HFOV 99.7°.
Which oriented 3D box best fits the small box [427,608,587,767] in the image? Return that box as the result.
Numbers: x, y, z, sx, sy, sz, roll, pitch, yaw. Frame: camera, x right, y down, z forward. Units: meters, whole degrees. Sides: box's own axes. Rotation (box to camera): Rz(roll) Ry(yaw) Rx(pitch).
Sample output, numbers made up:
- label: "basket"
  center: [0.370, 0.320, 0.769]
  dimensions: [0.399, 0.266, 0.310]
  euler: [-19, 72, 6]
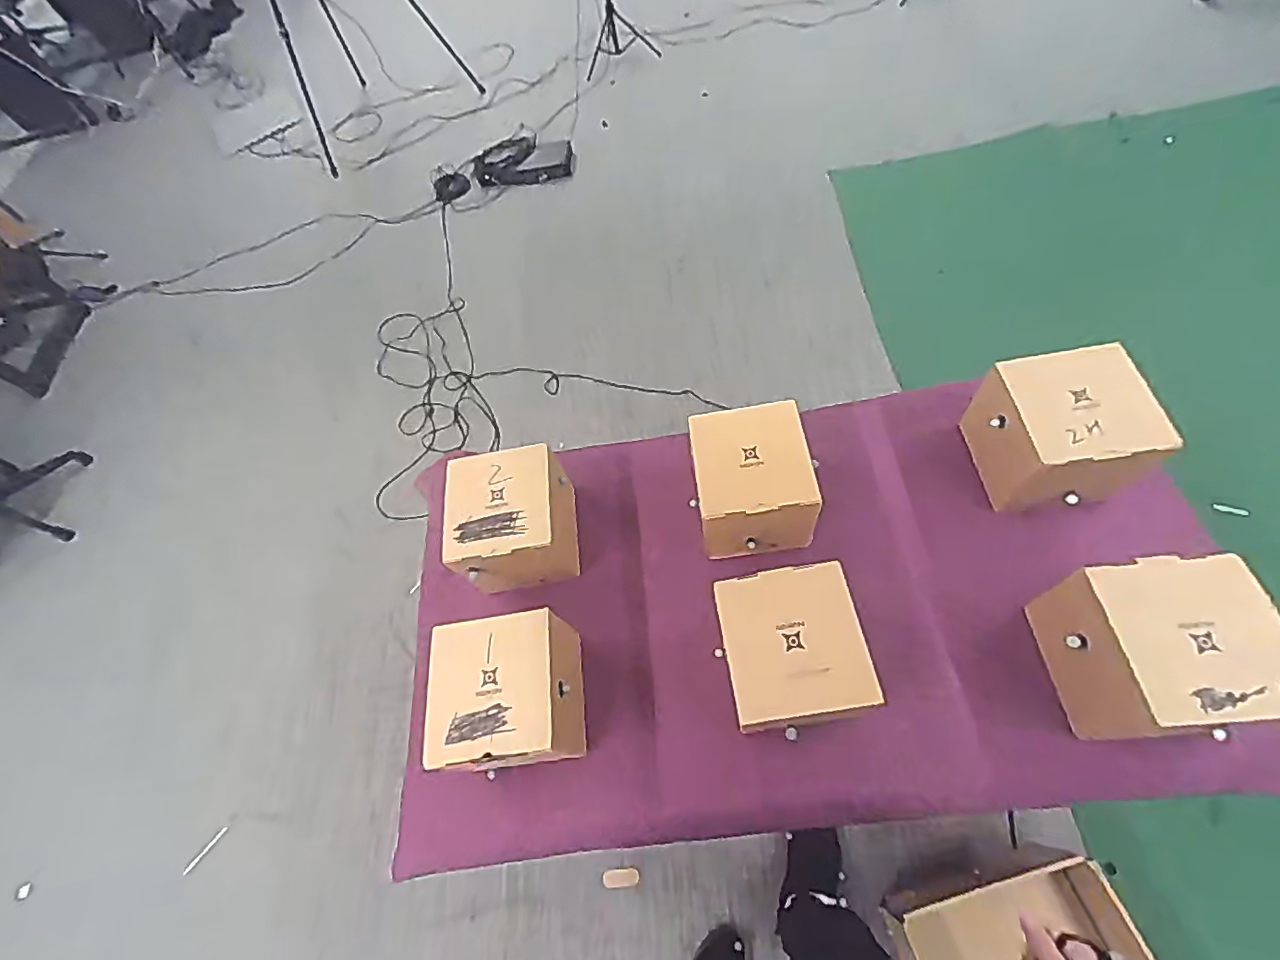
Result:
- label: "small box"
  center: [-0.175, 0.297, 0.759]
  dimensions: [0.168, 0.176, 0.179]
  euler: [-10, 59, 5]

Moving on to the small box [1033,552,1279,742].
- label: "small box"
  center: [0.621, 0.207, 0.651]
  dimensions: [0.168, 0.176, 0.179]
  euler: [-8, 58, 9]

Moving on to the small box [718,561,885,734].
- label: "small box"
  center: [0.201, 0.229, 0.725]
  dimensions: [0.168, 0.176, 0.179]
  euler: [-11, 60, 6]

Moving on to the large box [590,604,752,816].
- label: "large box"
  center: [0.078, 0.568, 1.328]
  dimensions: [0.320, 0.320, 0.408]
  euler: [-11, 59, 4]

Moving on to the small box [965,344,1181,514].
- label: "small box"
  center: [0.616, -0.069, 0.803]
  dimensions: [0.168, 0.176, 0.179]
  euler: [-9, 61, 9]

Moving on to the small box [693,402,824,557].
- label: "small box"
  center: [0.178, 0.005, 0.855]
  dimensions: [0.168, 0.176, 0.179]
  euler: [-9, 61, 6]
